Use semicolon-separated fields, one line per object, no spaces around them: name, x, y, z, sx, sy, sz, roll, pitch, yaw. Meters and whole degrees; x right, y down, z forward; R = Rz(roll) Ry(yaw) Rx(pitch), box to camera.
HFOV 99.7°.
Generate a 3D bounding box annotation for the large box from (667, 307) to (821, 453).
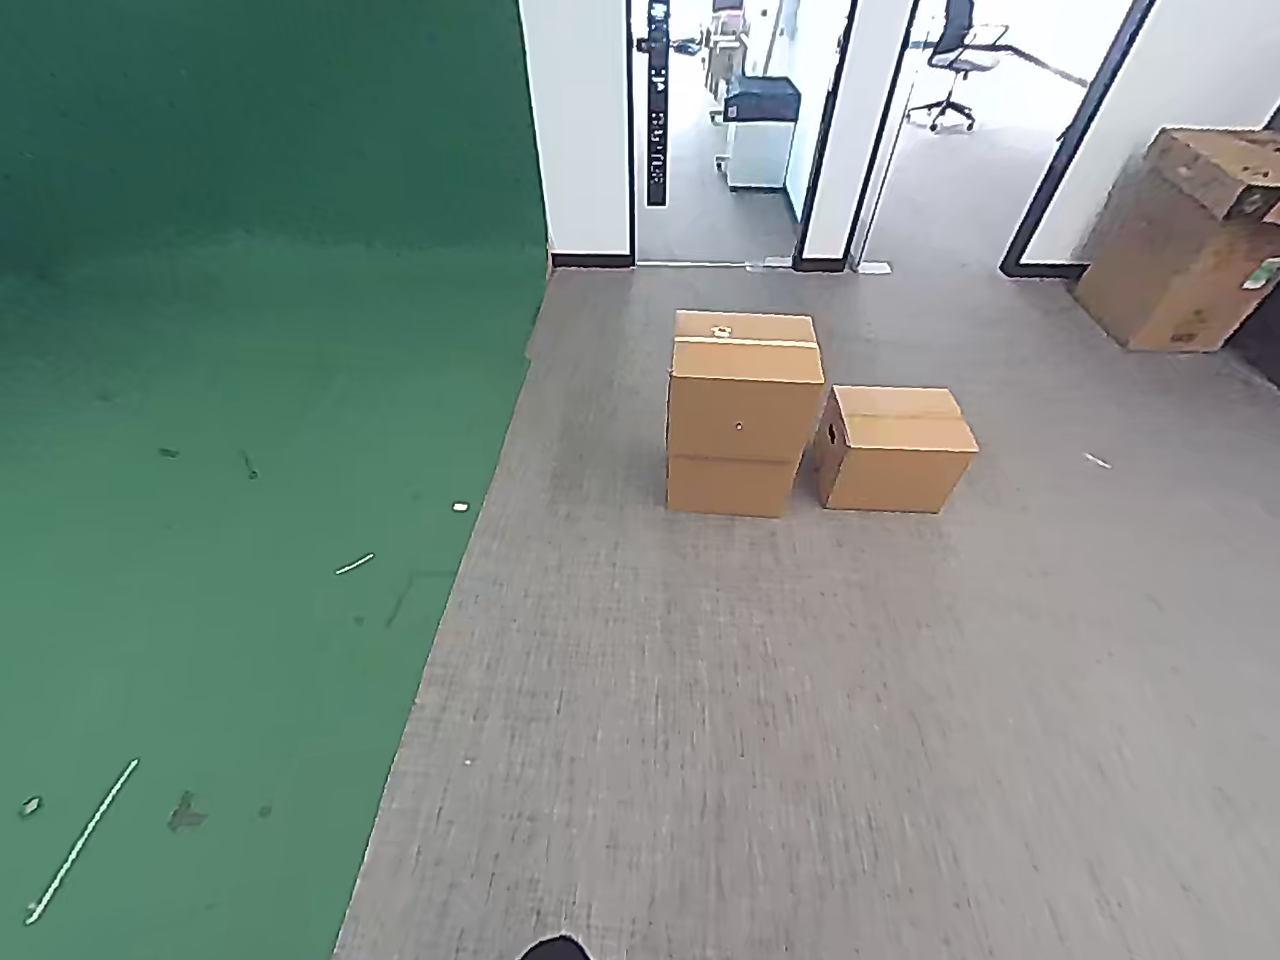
large box;0.289;-0.297;1.619;0.408;0.320;0.320;3;50;5
